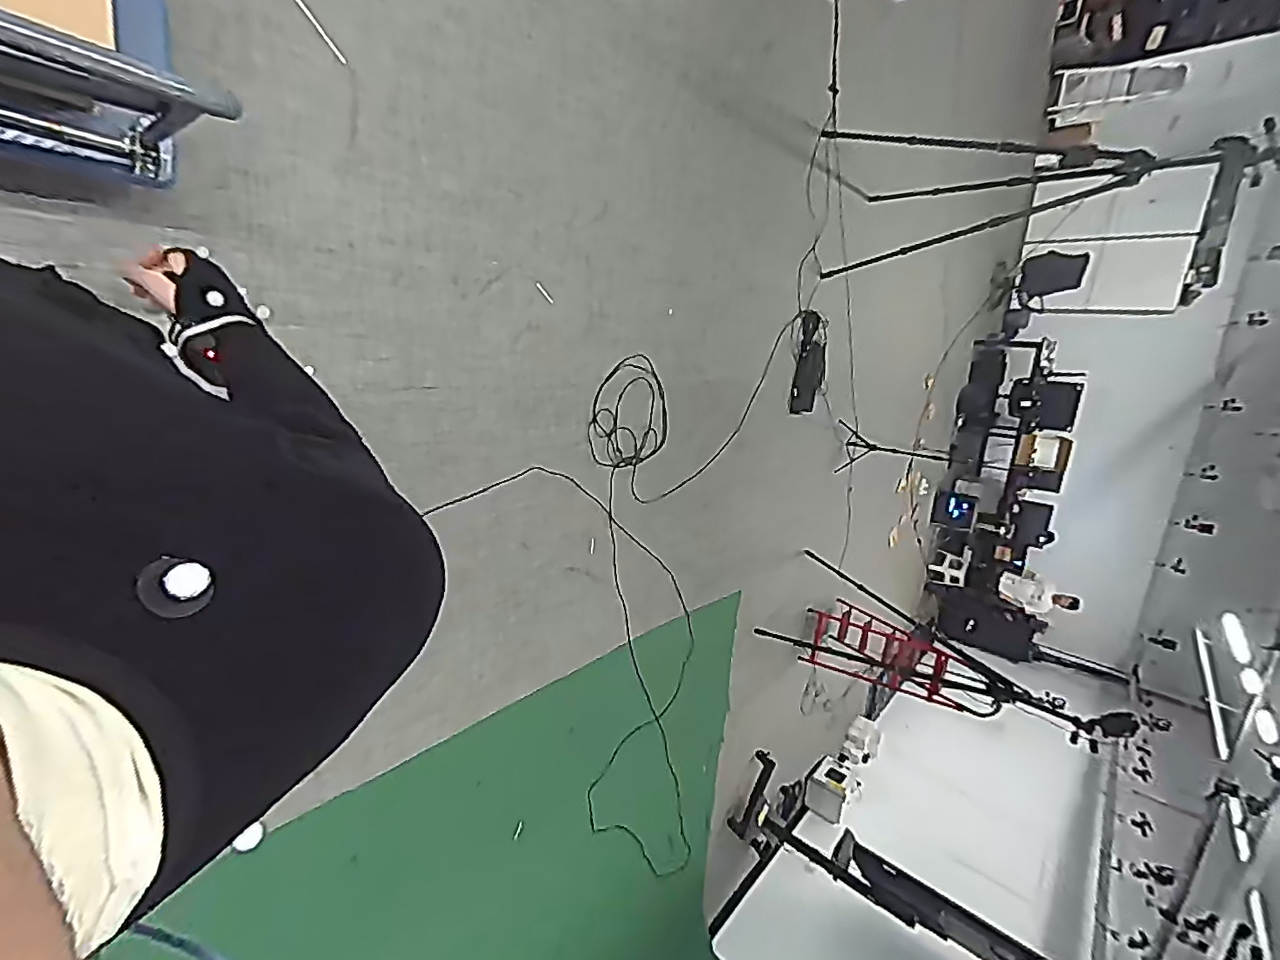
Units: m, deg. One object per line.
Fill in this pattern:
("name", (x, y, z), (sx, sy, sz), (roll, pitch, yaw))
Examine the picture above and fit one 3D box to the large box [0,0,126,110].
("large box", (-0.939, -0.807, 0.725), (0.320, 0.320, 0.408), (-8, 107, -48))
